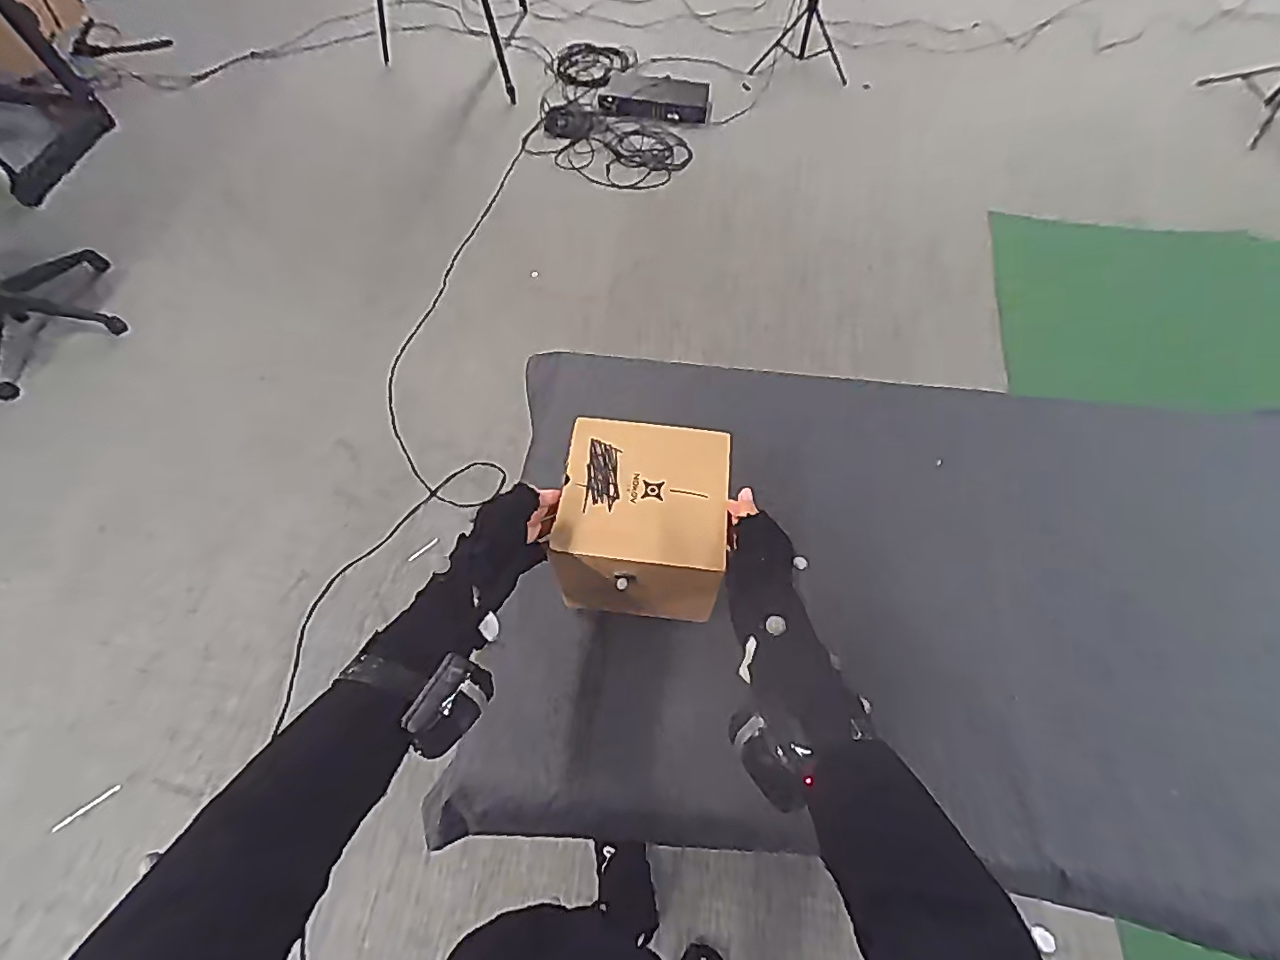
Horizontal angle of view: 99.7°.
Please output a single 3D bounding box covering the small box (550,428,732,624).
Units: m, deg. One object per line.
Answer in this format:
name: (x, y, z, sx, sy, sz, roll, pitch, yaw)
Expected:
small box: (0.007, 0.059, 0.631, 0.179, 0.176, 0.168, 6, 59, 3)
